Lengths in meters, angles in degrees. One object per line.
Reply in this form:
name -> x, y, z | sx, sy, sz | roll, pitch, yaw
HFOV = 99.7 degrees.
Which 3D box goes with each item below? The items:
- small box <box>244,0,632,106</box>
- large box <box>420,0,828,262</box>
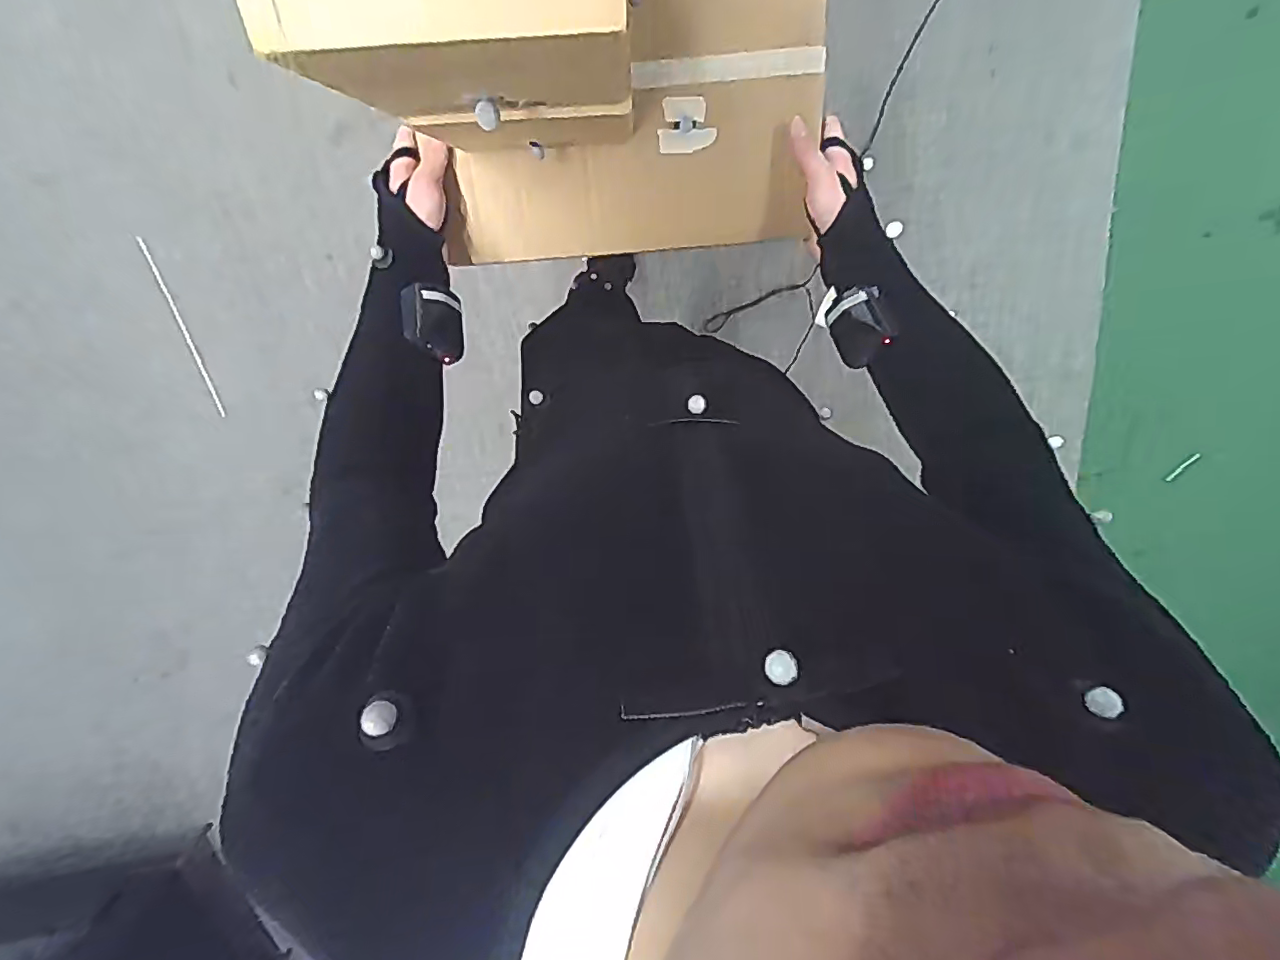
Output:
small box -> -0.091, -0.310, 0.268 | 0.168, 0.176, 0.179 | -3, 116, 0
large box -> -0.026, -0.456, 0.654 | 0.408, 0.320, 0.320 | -5, 116, 0
